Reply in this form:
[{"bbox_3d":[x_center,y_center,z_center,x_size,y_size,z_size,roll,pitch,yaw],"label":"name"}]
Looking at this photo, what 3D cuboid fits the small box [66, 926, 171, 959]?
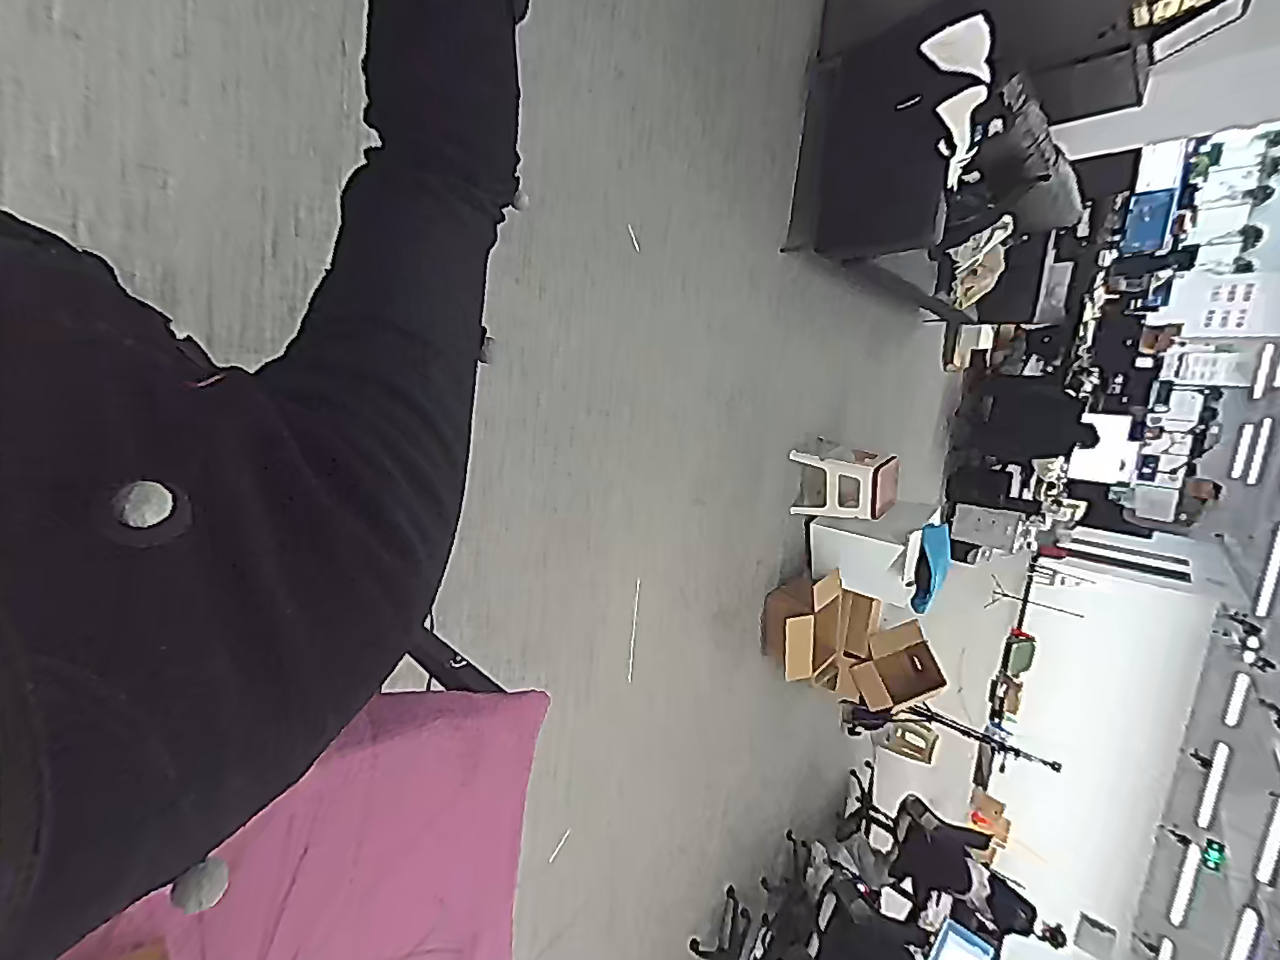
[{"bbox_3d":[-0.598,0.638,0.564,0.168,0.176,0.179,5,96,-47],"label":"small box"}]
